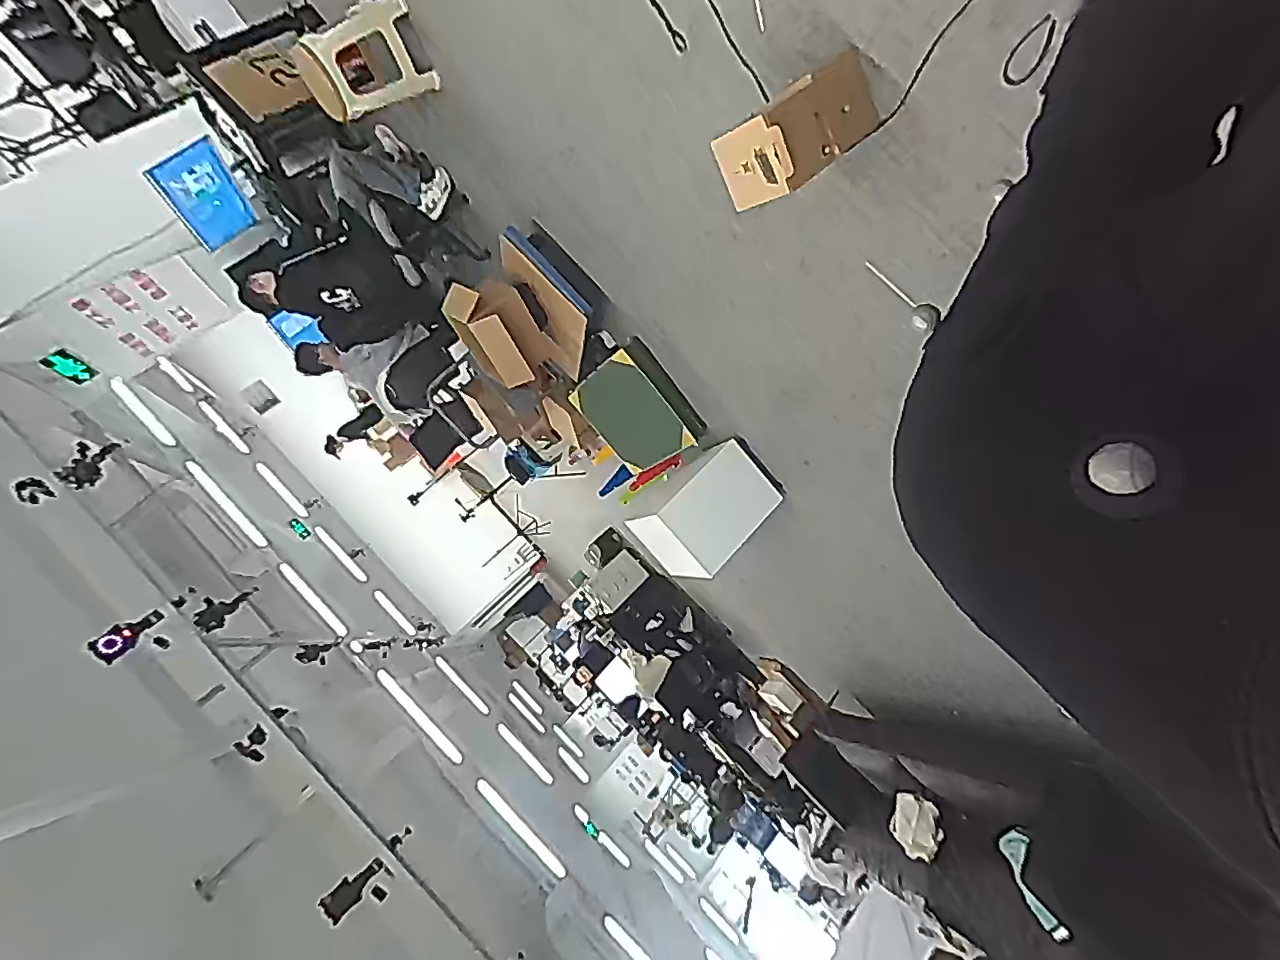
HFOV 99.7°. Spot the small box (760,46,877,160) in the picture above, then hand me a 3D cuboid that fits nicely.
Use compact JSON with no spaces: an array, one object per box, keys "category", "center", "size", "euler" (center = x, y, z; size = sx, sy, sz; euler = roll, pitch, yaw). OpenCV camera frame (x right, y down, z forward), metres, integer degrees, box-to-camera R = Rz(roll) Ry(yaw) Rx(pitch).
[{"category":"small box","center":[0.422,-0.858,1.269],"size":[0.179,0.176,0.168],"euler":[56,160,-22]}]

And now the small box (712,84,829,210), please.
[{"category":"small box","center":[0.303,-0.751,1.226],"size":[0.179,0.176,0.168],"euler":[18,145,56]}]
